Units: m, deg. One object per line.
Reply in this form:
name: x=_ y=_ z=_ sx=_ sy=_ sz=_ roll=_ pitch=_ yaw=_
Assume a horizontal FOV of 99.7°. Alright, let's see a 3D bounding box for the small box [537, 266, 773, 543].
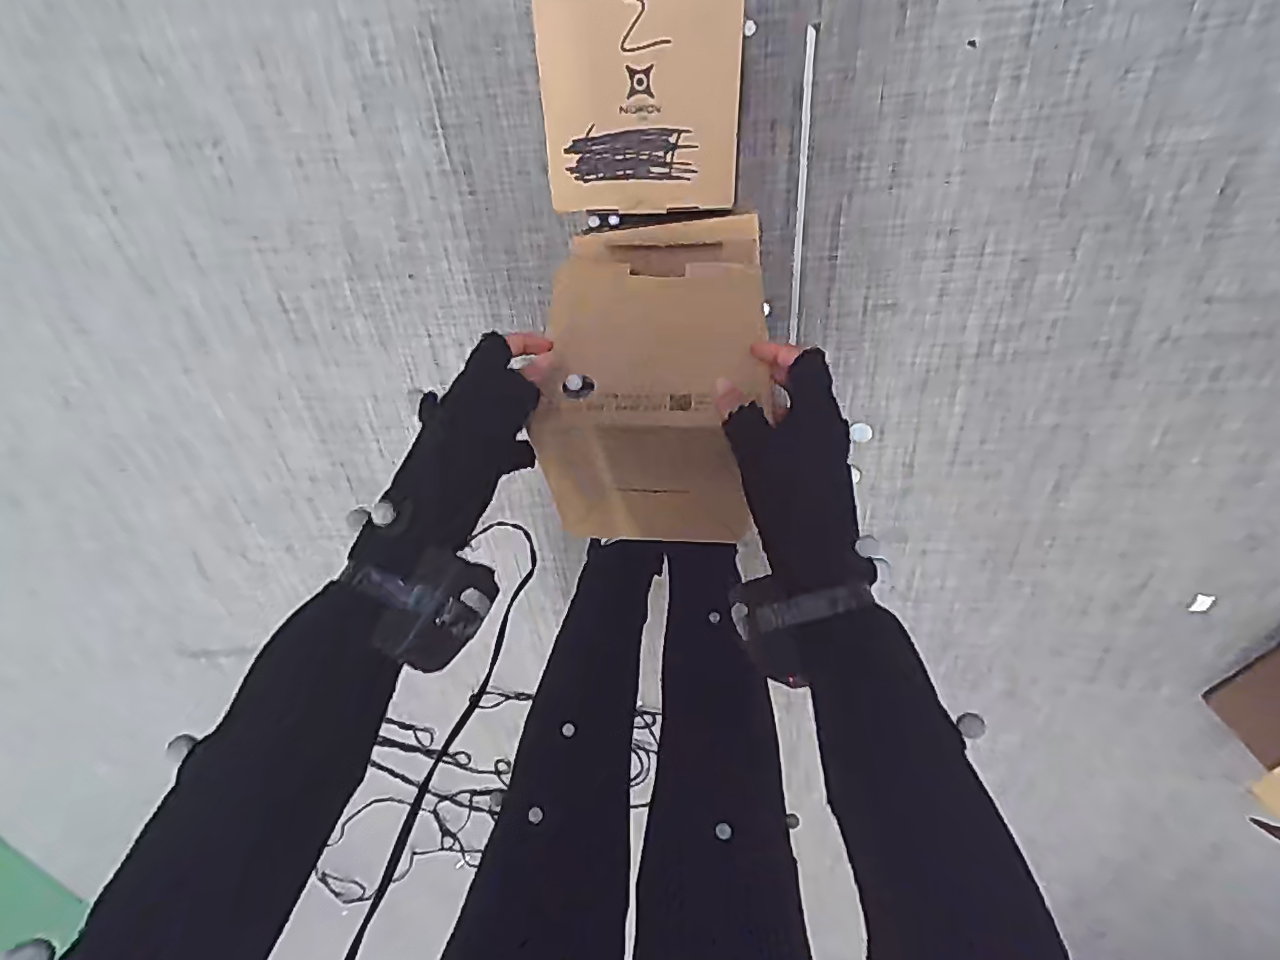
small box: x=0.015 y=-0.056 z=0.462 sx=0.168 sy=0.176 sz=0.179 roll=2 pitch=148 yaw=4
